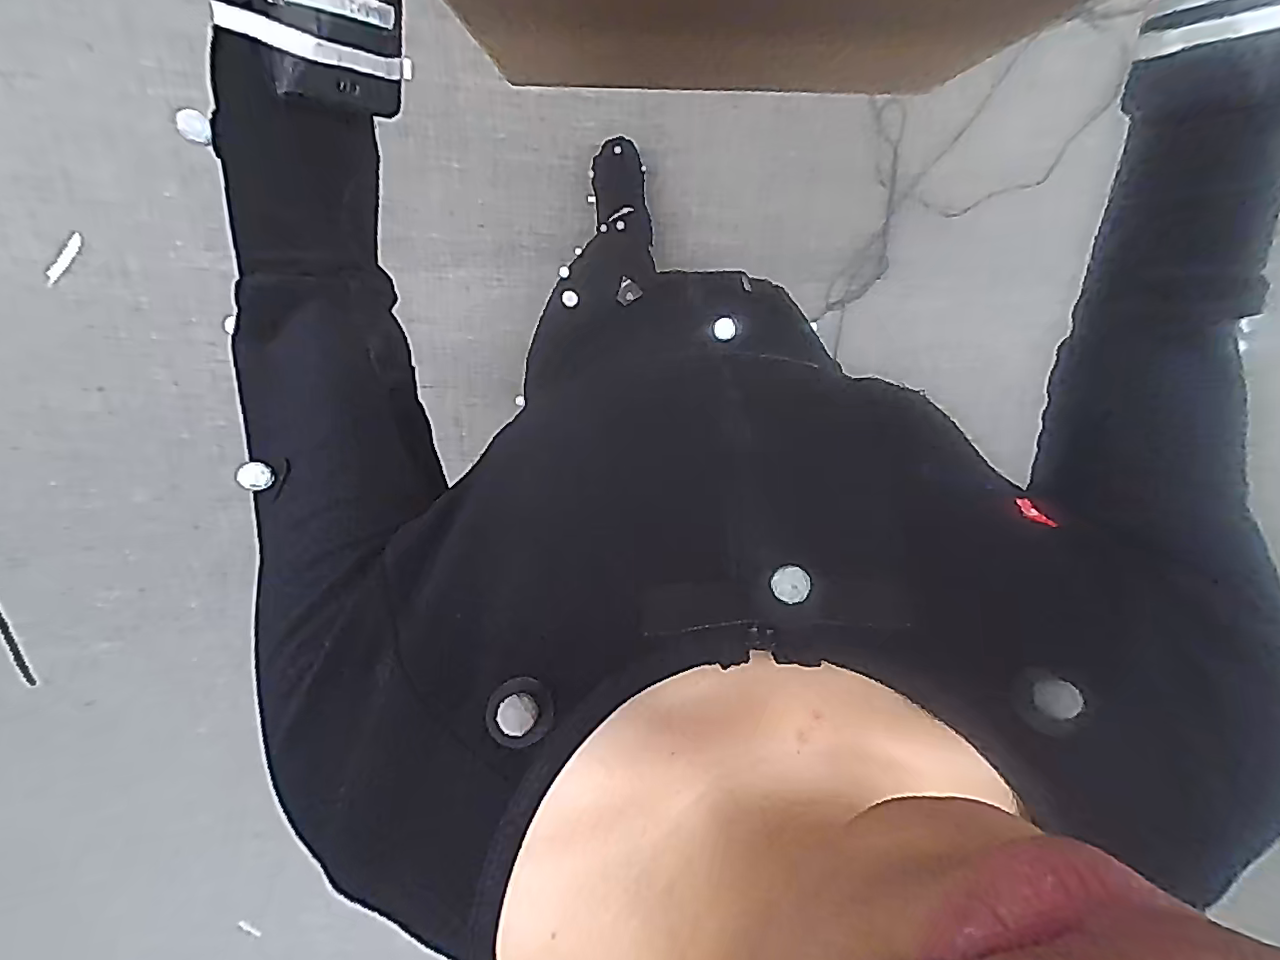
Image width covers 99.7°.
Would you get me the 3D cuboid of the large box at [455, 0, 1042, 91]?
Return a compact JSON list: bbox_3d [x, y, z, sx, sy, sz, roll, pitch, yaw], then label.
[{"bbox_3d":[0.071,-0.465,0.327,0.408,0.320,0.320,0,113,0],"label":"large box"}]
